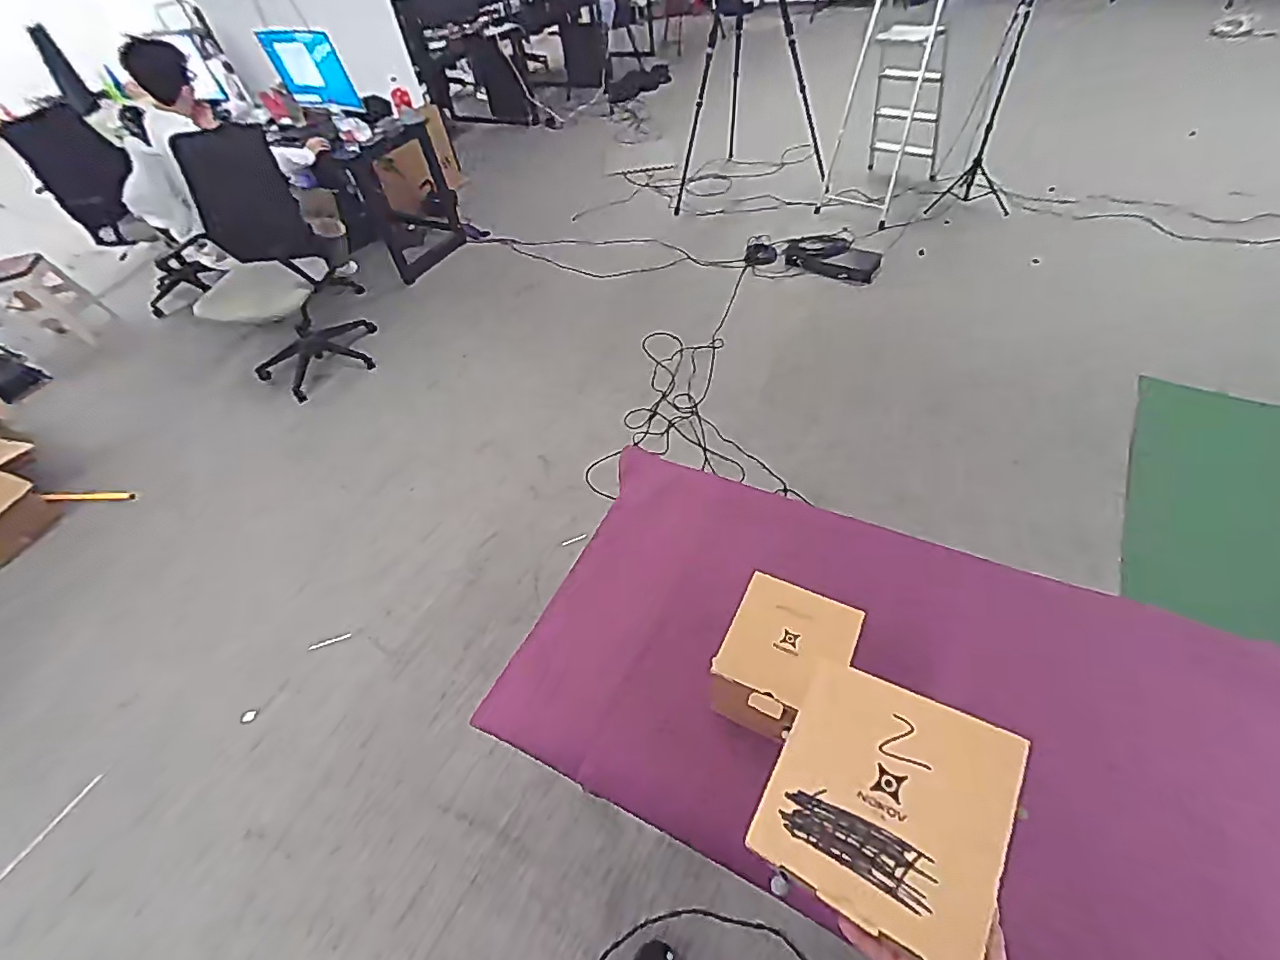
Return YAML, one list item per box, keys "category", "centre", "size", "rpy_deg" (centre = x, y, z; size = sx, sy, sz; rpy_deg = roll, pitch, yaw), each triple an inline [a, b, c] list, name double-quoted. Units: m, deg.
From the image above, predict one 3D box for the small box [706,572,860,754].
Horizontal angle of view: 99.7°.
- category: "small box"
  centre: [0.210, 0.277, 0.812]
  size: [0.168, 0.176, 0.179]
  rpy_deg: [20, 54, 22]
